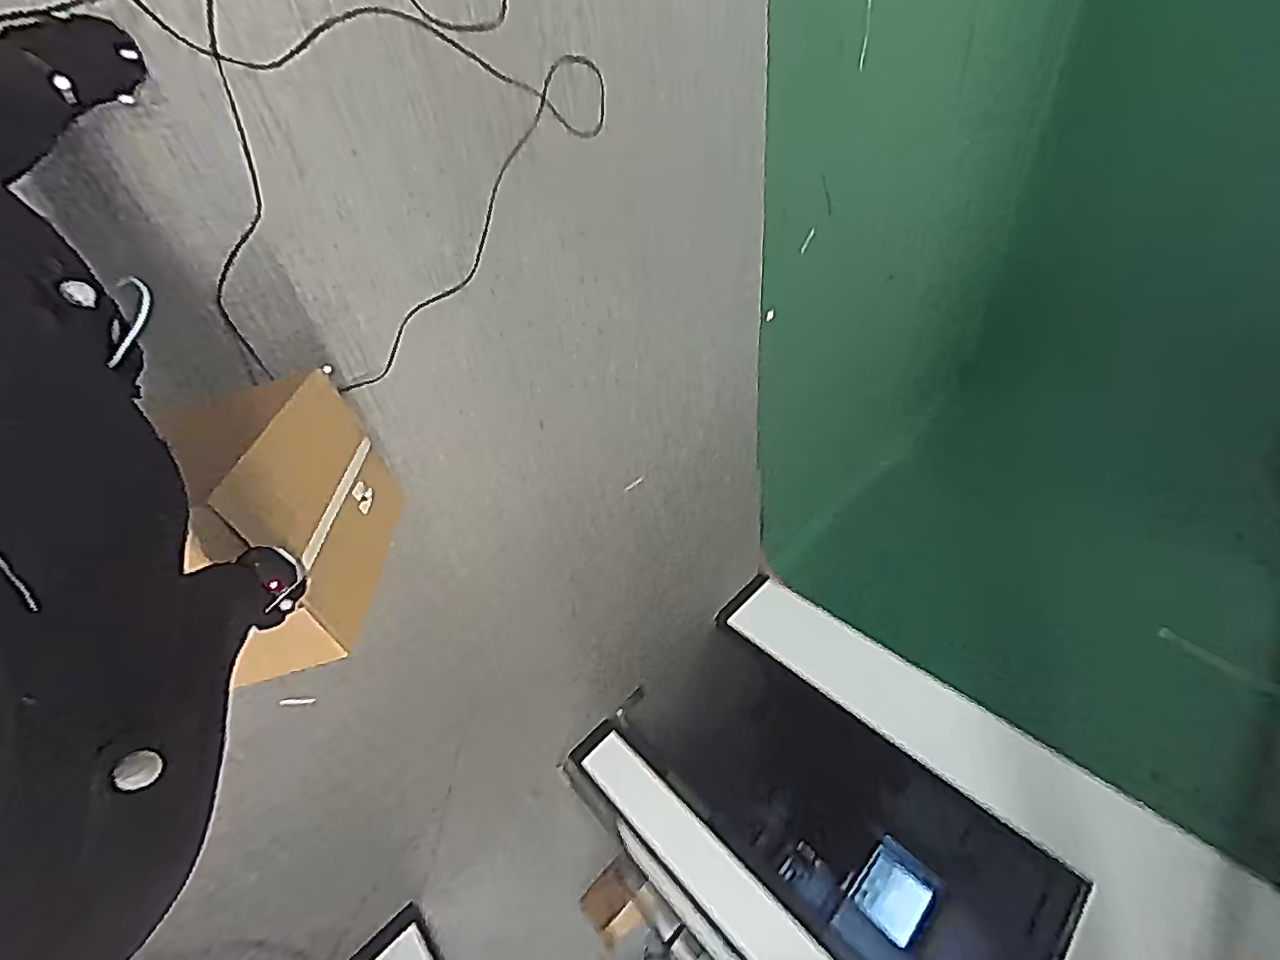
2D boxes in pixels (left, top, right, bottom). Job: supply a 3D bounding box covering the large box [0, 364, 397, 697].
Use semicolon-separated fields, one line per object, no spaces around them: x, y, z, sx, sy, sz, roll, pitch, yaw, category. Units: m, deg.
-0.657;0.067;0.892;0.320;0.408;0.320;-16;126;0;large box
